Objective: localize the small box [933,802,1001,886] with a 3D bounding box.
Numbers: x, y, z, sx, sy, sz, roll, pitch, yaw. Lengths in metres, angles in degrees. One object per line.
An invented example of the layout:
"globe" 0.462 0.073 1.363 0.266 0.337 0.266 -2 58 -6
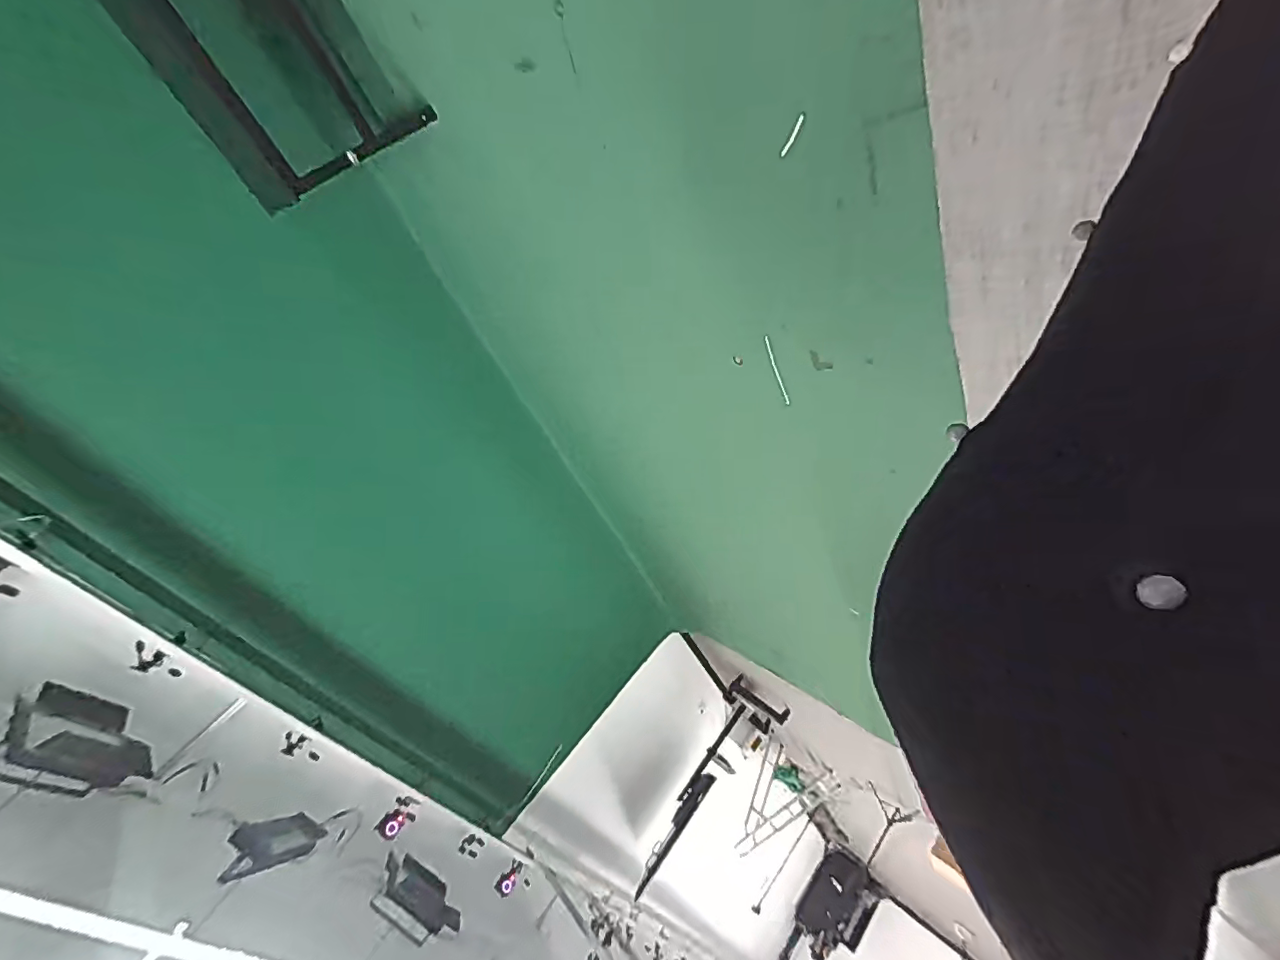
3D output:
"small box" 1.198 1.322 1.971 0.168 0.176 0.179 17 147 46
